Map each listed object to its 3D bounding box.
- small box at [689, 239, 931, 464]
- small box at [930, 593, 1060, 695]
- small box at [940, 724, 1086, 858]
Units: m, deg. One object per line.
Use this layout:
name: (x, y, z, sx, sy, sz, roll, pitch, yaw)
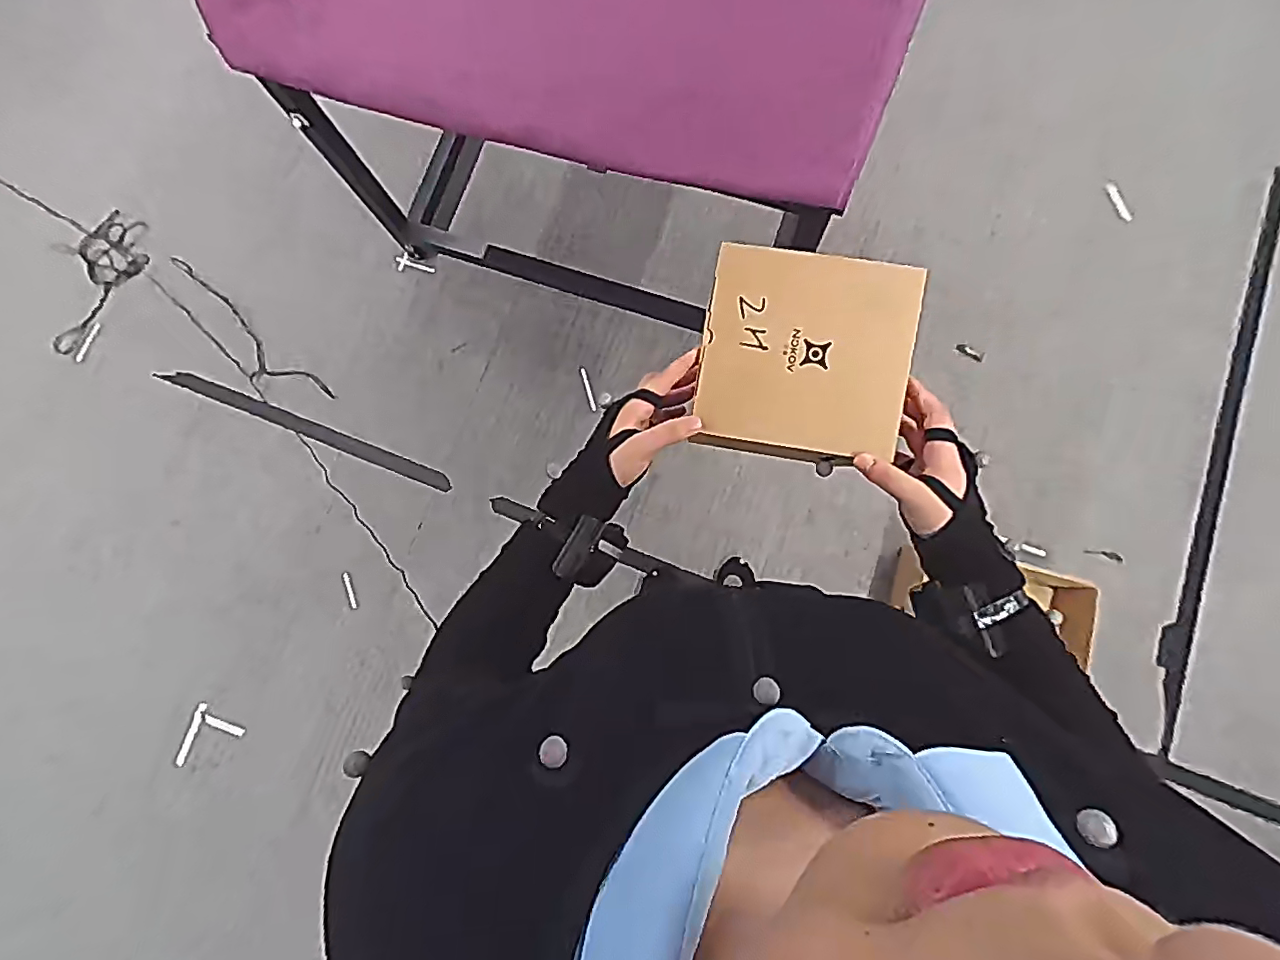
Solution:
small box: (0.147, -0.110, 0.531, 0.179, 0.176, 0.168, 9, 91, 5)
small box: (0.849, 0.385, 1.310, 0.179, 0.176, 0.168, 26, 85, 7)
small box: (0.753, 0.622, 1.110, 0.179, 0.176, 0.168, 16, 82, 5)
